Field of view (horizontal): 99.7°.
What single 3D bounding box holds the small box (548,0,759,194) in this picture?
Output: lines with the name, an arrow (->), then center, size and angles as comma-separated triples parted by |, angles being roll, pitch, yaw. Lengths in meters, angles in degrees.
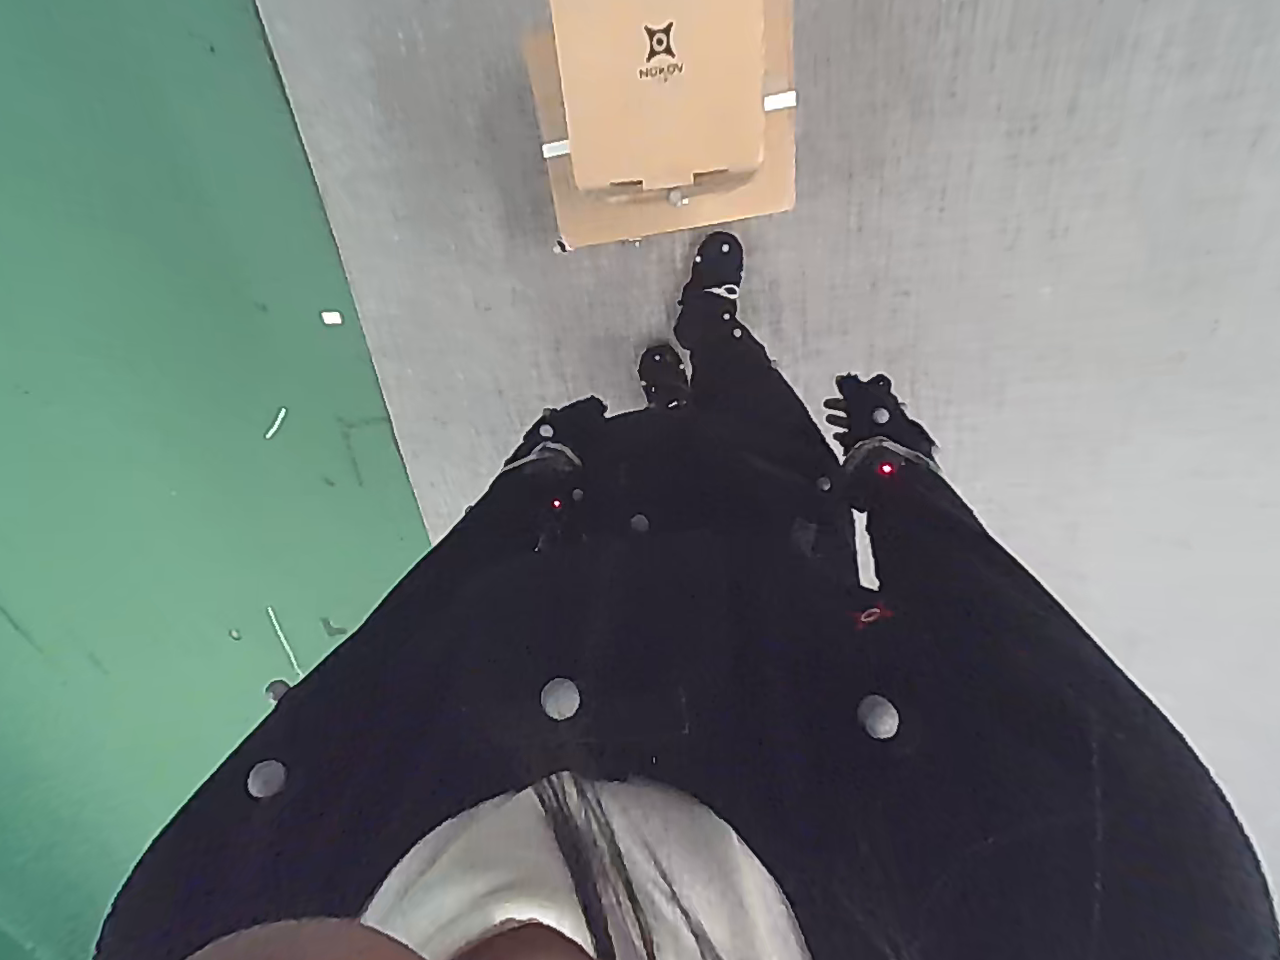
small box -> 0.023, -0.372, 0.503 | 0.168, 0.176, 0.179 | -2, 116, 9

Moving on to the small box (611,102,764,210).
small box -> 0.045, -0.434, 0.653 | 0.179, 0.176, 0.168 | -8, 115, 10
